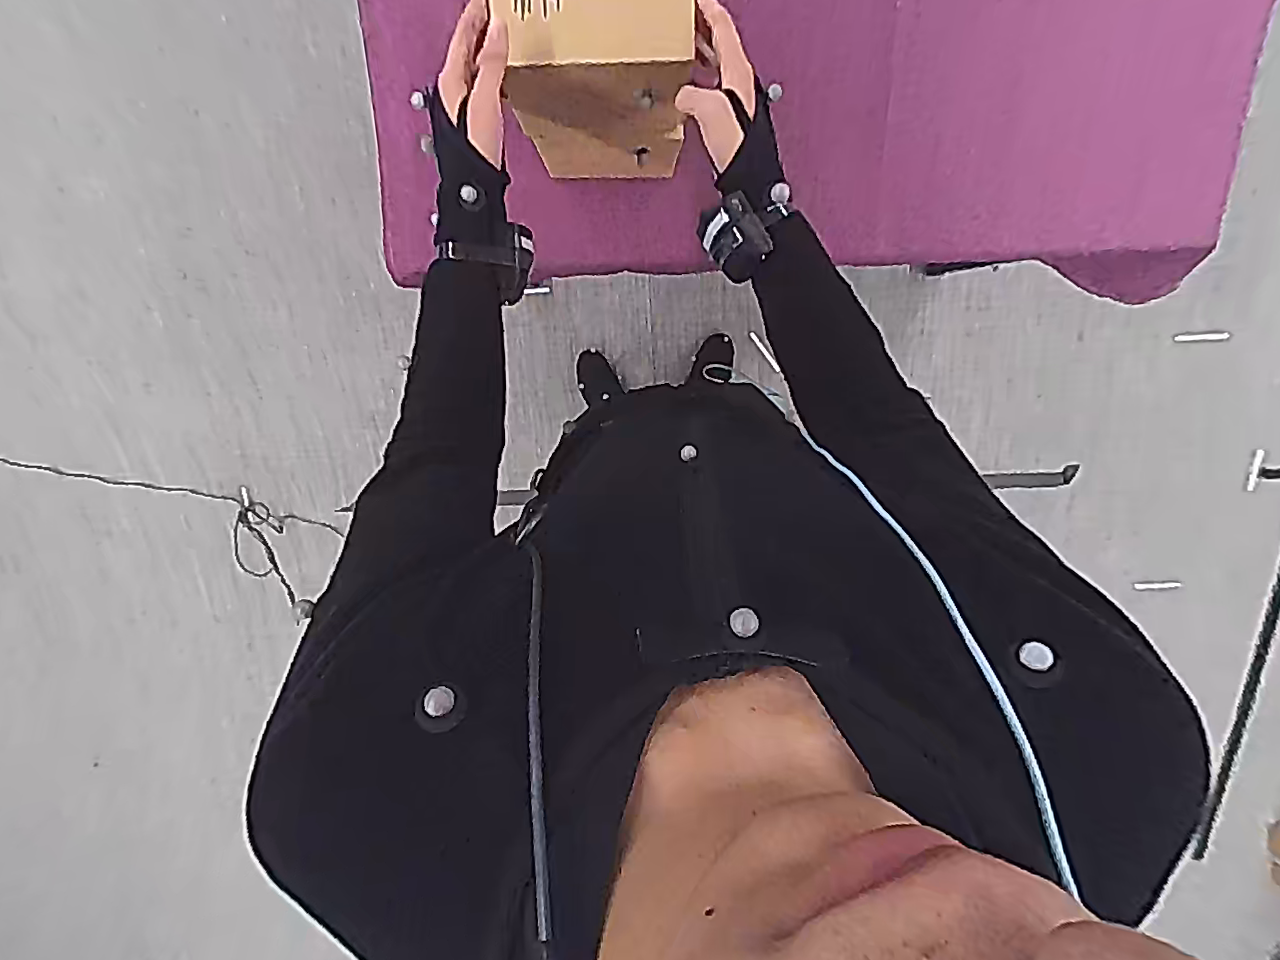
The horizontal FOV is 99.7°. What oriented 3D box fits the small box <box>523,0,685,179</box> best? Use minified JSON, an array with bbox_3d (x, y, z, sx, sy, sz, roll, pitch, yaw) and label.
[{"bbox_3d":[-0.042,-0.487,0.670,0.179,0.176,0.168,-1,105,-1],"label":"small box"}]
